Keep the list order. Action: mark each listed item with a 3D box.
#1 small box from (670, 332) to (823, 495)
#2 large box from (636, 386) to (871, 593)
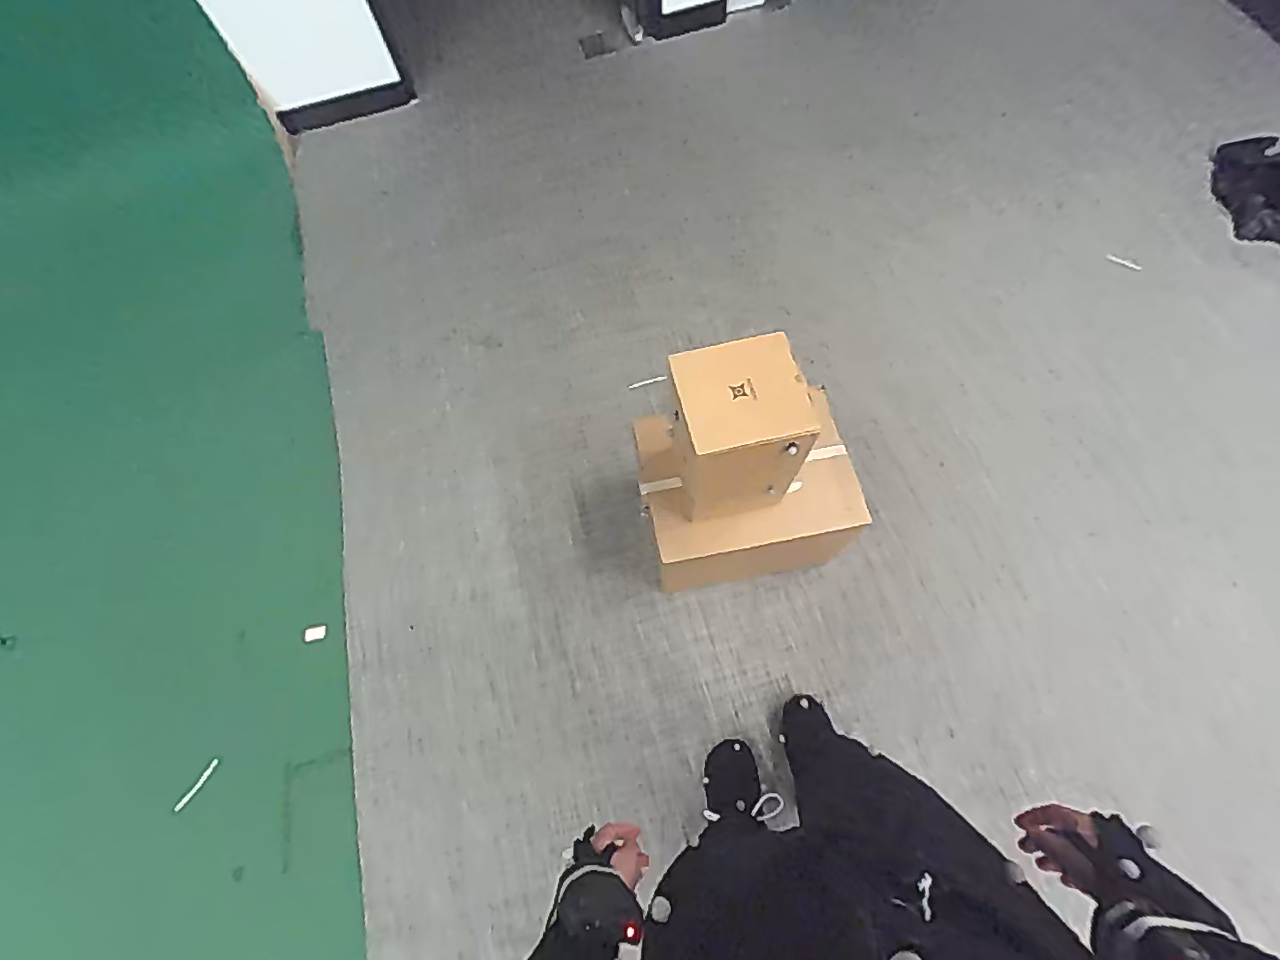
[{"bbox_3d":[0.149,-0.091,0.817,0.179,0.176,0.168,-12,68,-3],"label":"small box"},{"bbox_3d":[0.218,0.037,1.201,0.408,0.320,0.320,-11,68,-2],"label":"large box"}]
